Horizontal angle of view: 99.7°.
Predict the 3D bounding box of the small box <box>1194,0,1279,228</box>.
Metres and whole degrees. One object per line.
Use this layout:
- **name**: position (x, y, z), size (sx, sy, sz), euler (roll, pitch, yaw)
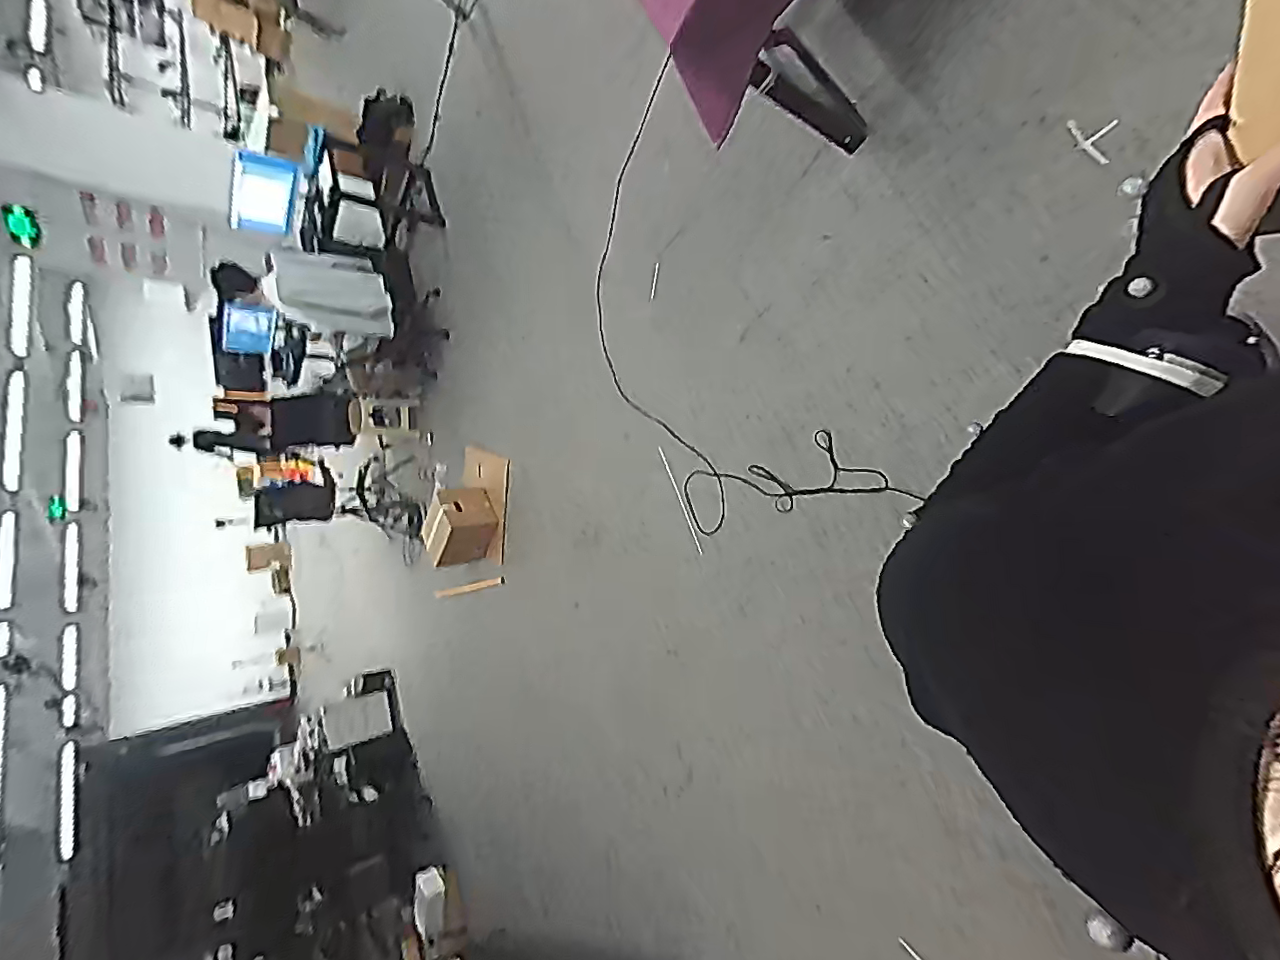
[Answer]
- **small box**: position (0.489, -0.275, 0.332), size (0.179, 0.176, 0.168), euler (11, 101, 51)
